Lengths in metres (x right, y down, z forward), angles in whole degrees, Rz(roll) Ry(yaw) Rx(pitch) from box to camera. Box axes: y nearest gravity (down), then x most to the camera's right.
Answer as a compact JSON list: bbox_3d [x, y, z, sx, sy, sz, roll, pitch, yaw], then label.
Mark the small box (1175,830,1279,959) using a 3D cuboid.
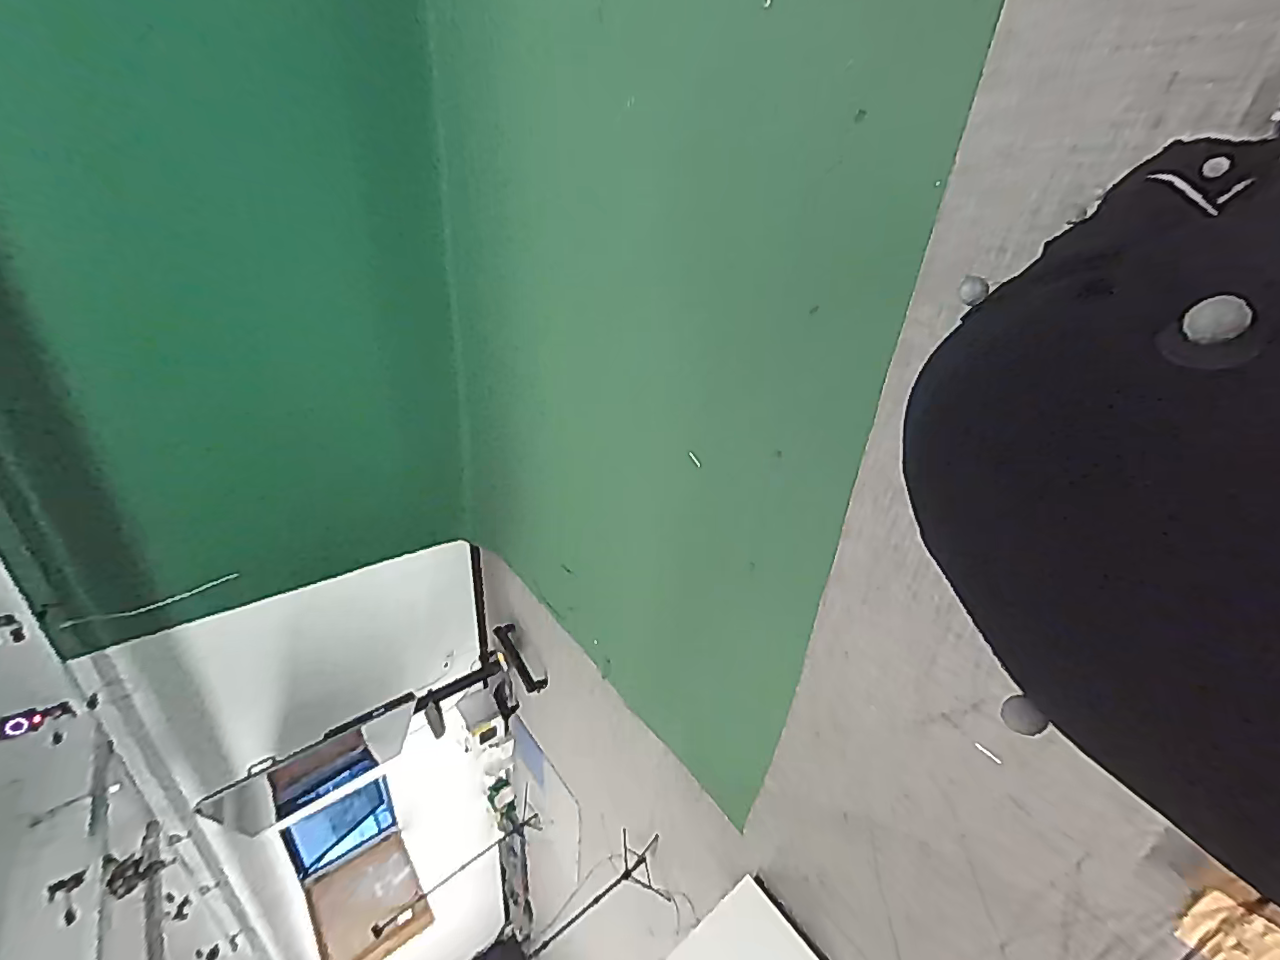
[{"bbox_3d":[1.285,0.894,1.133,0.168,0.176,0.179,30,126,43],"label":"small box"}]
